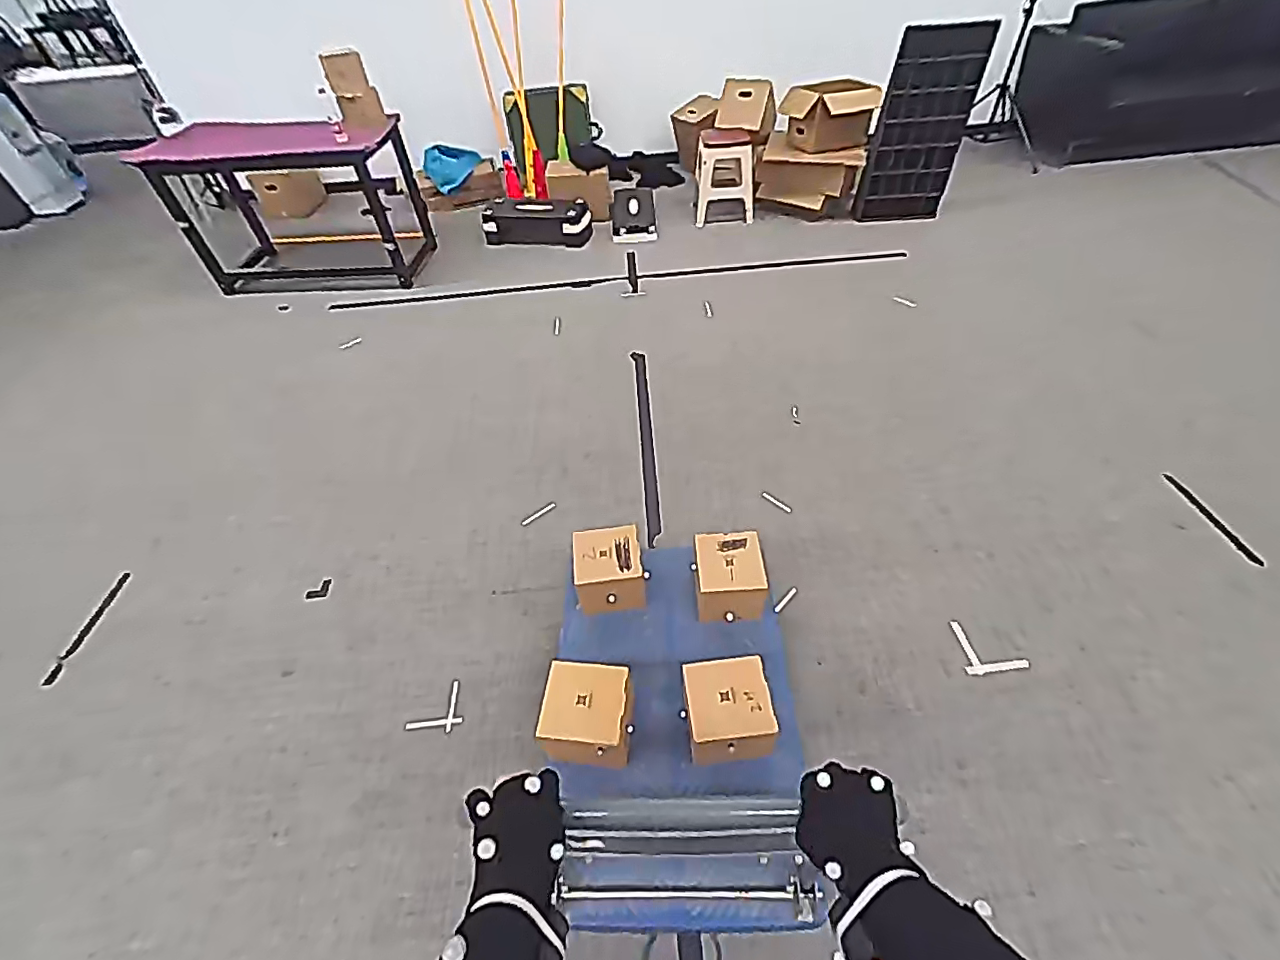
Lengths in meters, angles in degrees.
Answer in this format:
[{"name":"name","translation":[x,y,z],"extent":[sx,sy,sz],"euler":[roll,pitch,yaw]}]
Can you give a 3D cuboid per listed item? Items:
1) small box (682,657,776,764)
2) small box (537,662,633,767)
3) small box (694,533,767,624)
[{"name":"small box","translation":[0.191,0.515,1.202],"extent":[0.179,0.176,0.168],"euler":[-6,47,-1]},{"name":"small box","translation":[-0.114,0.530,1.217],"extent":[0.179,0.176,0.168],"euler":[3,47,6]},{"name":"small box","translation":[0.233,0.262,1.433],"extent":[0.168,0.176,0.179],"euler":[-4,48,2]}]
